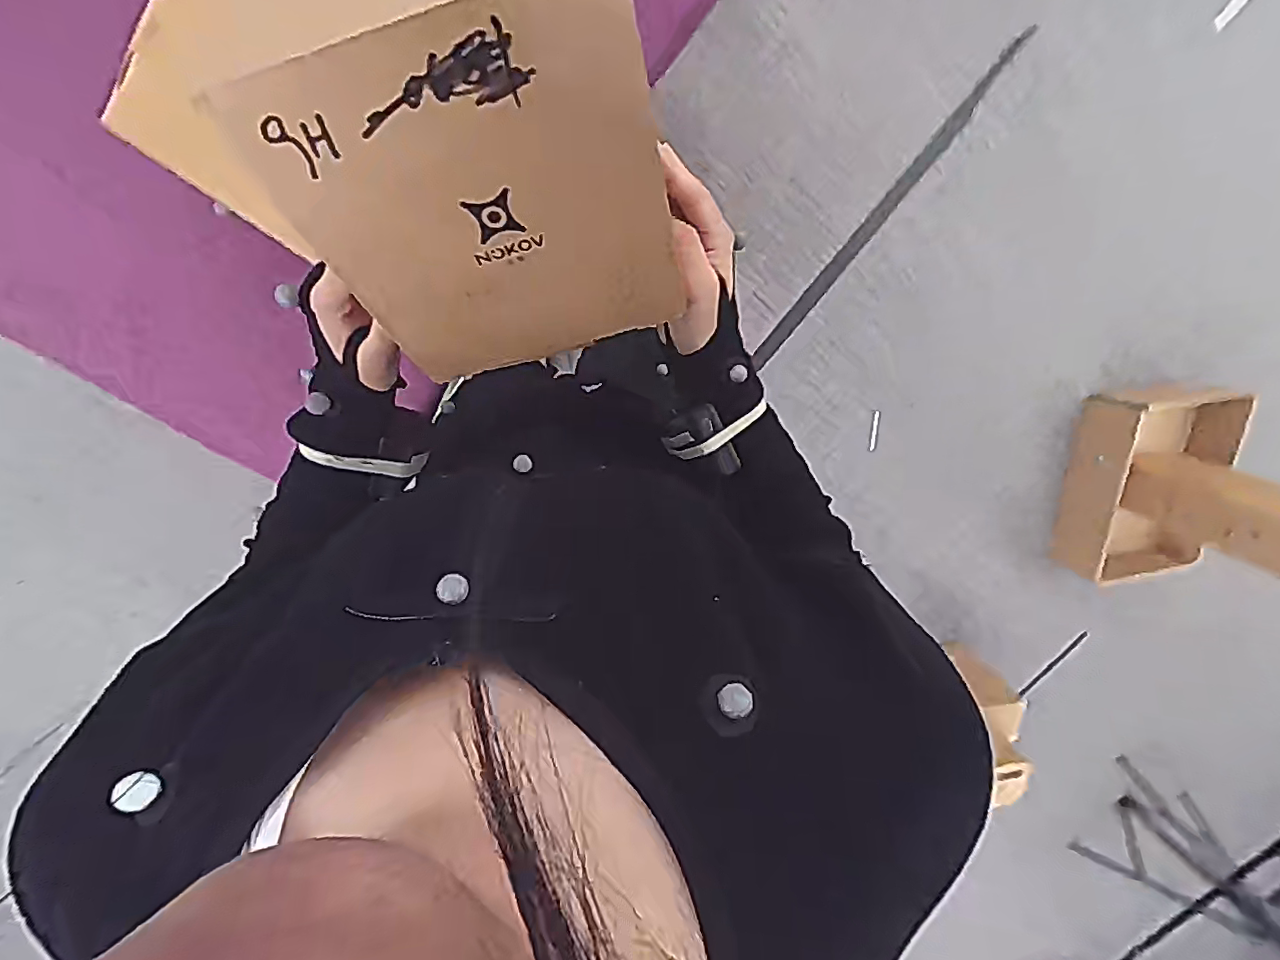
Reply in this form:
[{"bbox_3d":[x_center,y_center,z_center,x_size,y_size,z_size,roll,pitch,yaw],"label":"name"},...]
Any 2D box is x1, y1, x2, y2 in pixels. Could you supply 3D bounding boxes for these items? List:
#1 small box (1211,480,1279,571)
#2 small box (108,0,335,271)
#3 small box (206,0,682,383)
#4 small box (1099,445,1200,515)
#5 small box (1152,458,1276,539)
[{"bbox_3d":[1.716,0.117,1.455,0.179,0.176,0.168,-13,116,-5],"label":"small box"},{"bbox_3d":[-0.319,-0.325,0.513,0.179,0.176,0.168,34,103,-20],"label":"small box"},{"bbox_3d":[-0.079,-0.187,0.303,0.168,0.176,0.179,-14,152,5],"label":"small box"},{"bbox_3d":[1.660,-0.006,1.753,0.179,0.176,0.168,-9,113,-6],"label":"small box"},{"bbox_3d":[1.689,0.050,1.604,0.179,0.176,0.168,-13,115,-6],"label":"small box"}]
